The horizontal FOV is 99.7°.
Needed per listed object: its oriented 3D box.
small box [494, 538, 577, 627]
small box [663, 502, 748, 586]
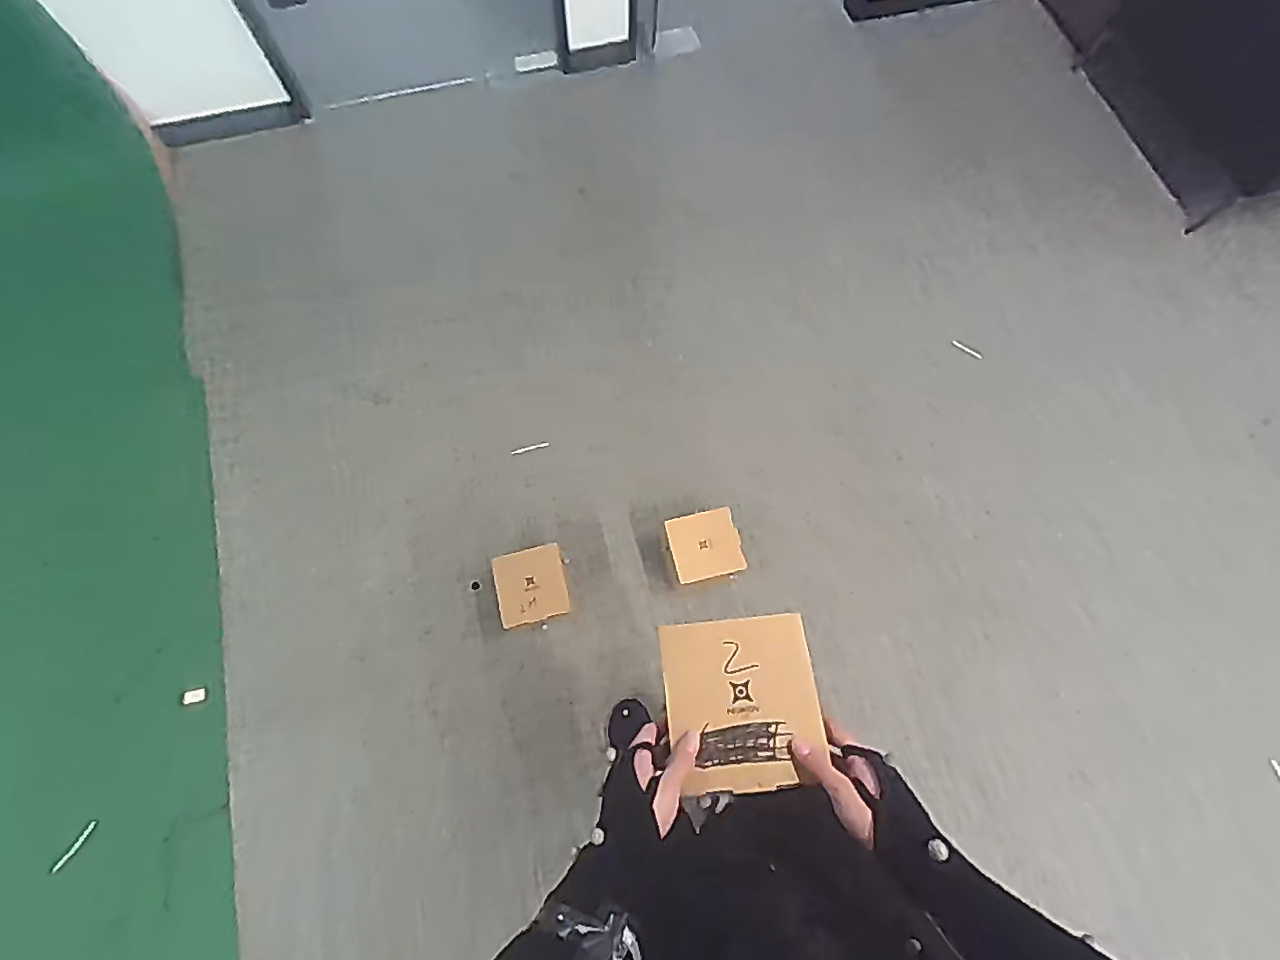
[{"bbox_3d":[-0.260,0.265,1.370,0.168,0.176,0.179,-14,73,-5],"label":"small box"},{"bbox_3d":[0.162,0.172,1.413,0.179,0.176,0.168,-13,73,-6],"label":"small box"}]
